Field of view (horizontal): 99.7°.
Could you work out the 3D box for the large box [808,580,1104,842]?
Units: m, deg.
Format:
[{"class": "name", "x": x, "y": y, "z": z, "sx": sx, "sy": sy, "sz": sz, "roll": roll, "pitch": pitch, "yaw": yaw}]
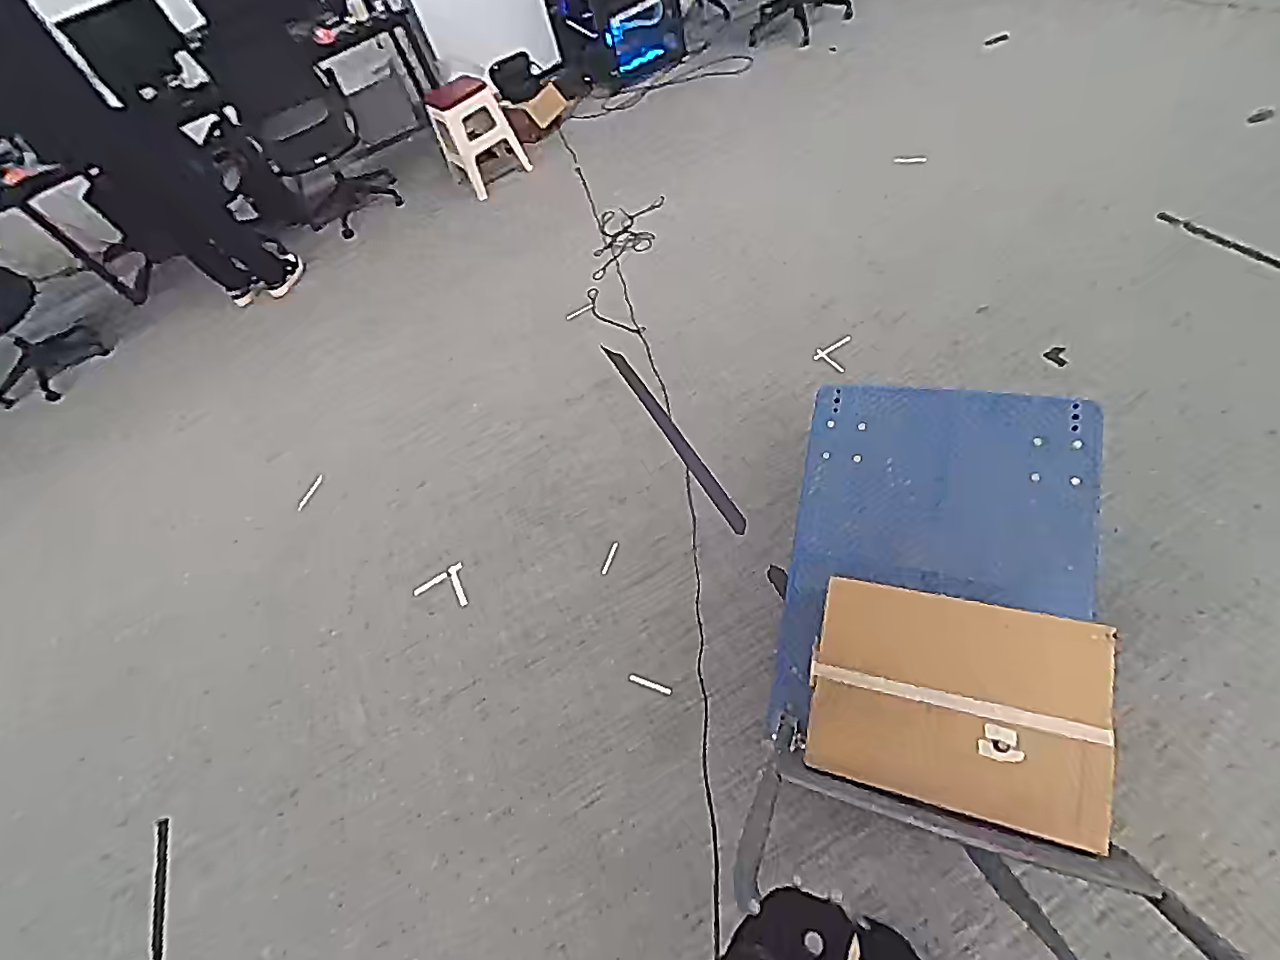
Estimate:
[{"class": "large box", "x": 0.534, "y": 0.382, "z": 0.994, "sx": 0.408, "sy": 0.320, "sz": 0.320, "roll": 8, "pitch": 79, "yaw": 20}]
